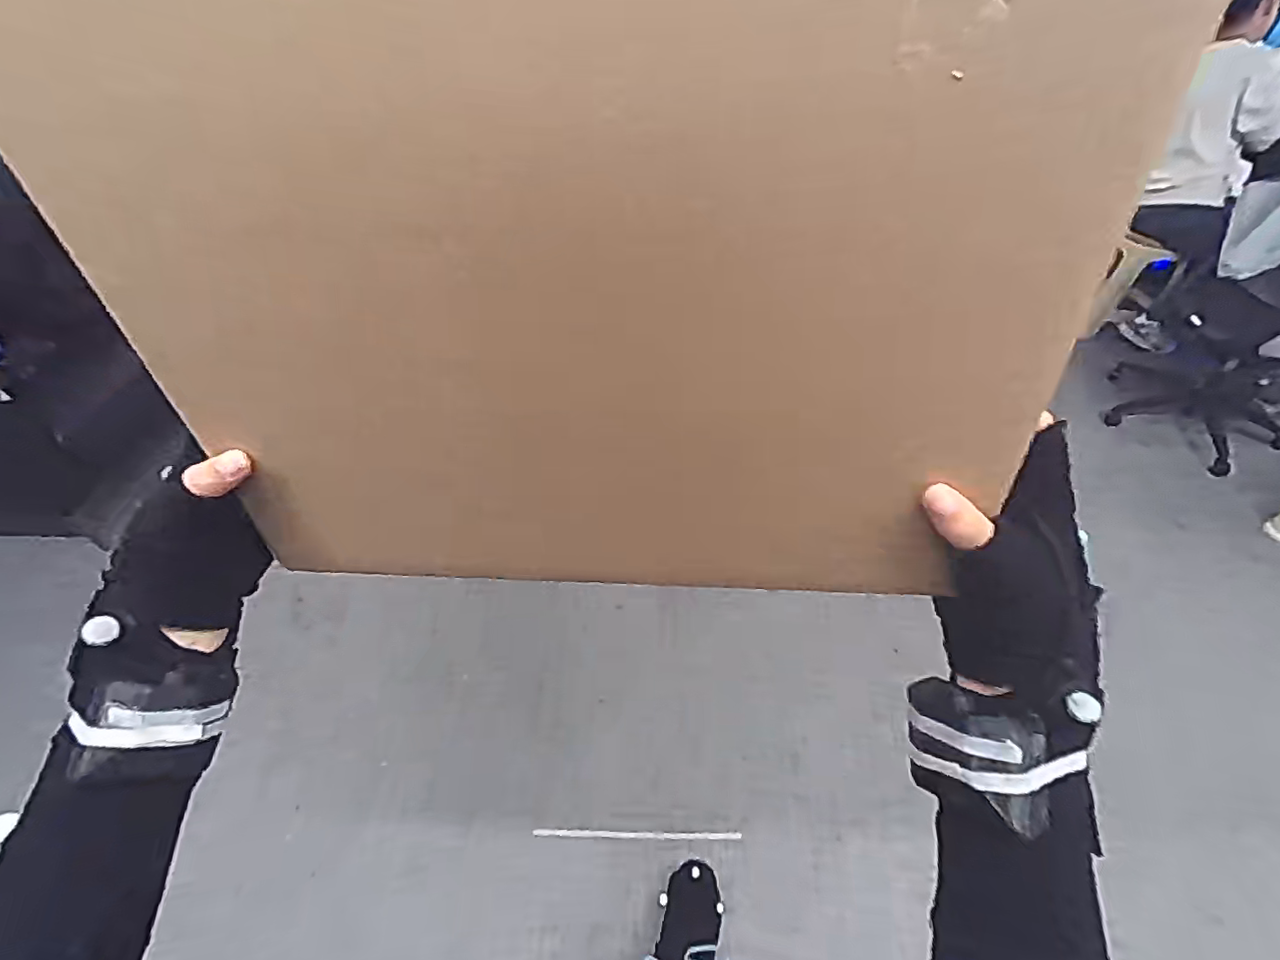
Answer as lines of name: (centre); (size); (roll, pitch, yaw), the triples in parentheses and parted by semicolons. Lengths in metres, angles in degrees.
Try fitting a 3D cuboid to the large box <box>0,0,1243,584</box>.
large box: (-0.006, -0.150, 0.350); (0.408, 0.320, 0.320); (2, 38, 5)
